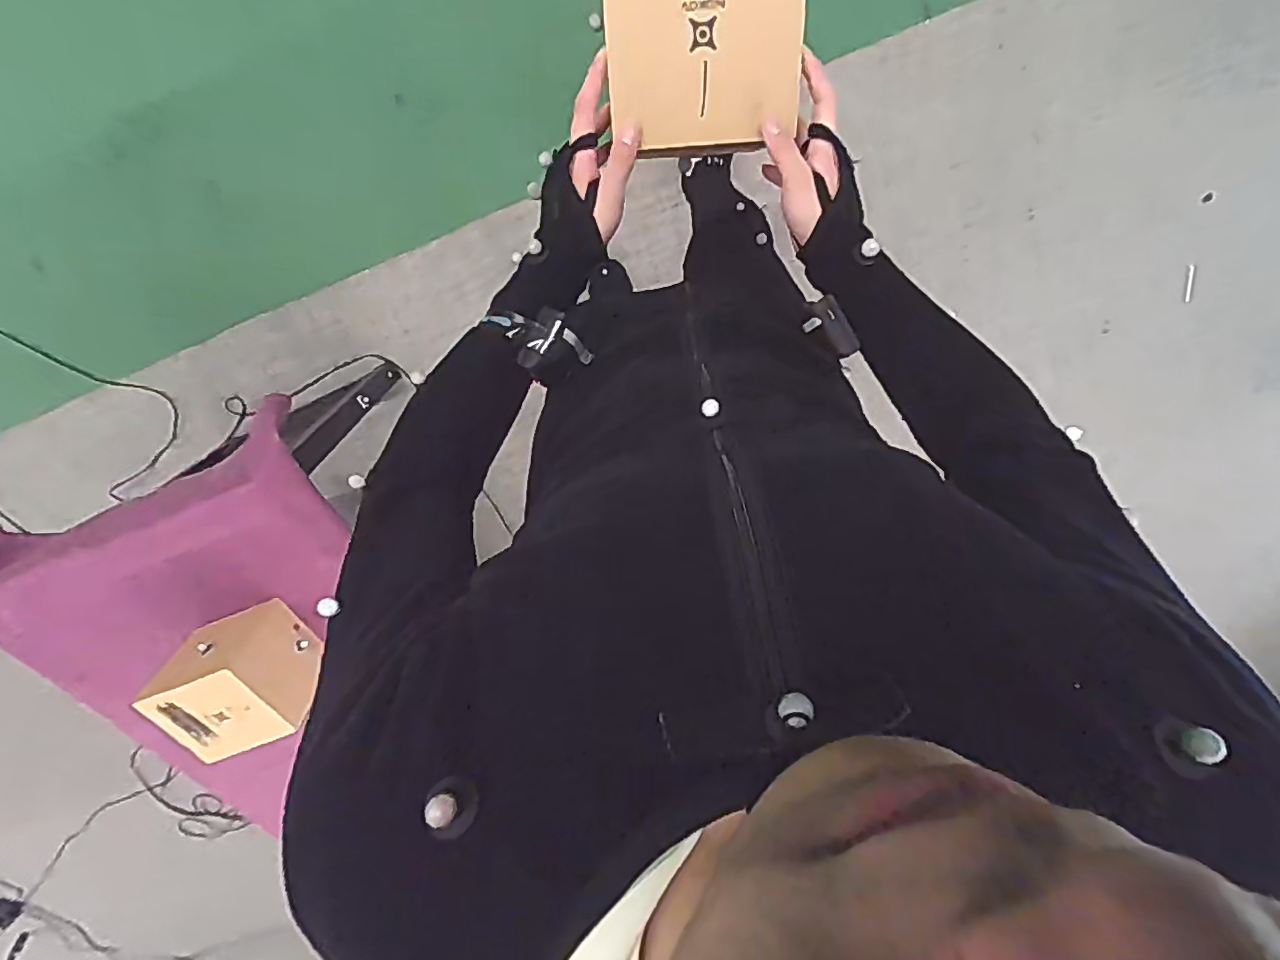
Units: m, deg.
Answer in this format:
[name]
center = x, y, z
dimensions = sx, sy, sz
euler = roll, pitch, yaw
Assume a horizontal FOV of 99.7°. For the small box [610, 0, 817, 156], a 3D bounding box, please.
[small box]
center = 0.058, -0.414, 0.505
dimensions = 0.168, 0.176, 0.179
euler = -4, 119, 0
